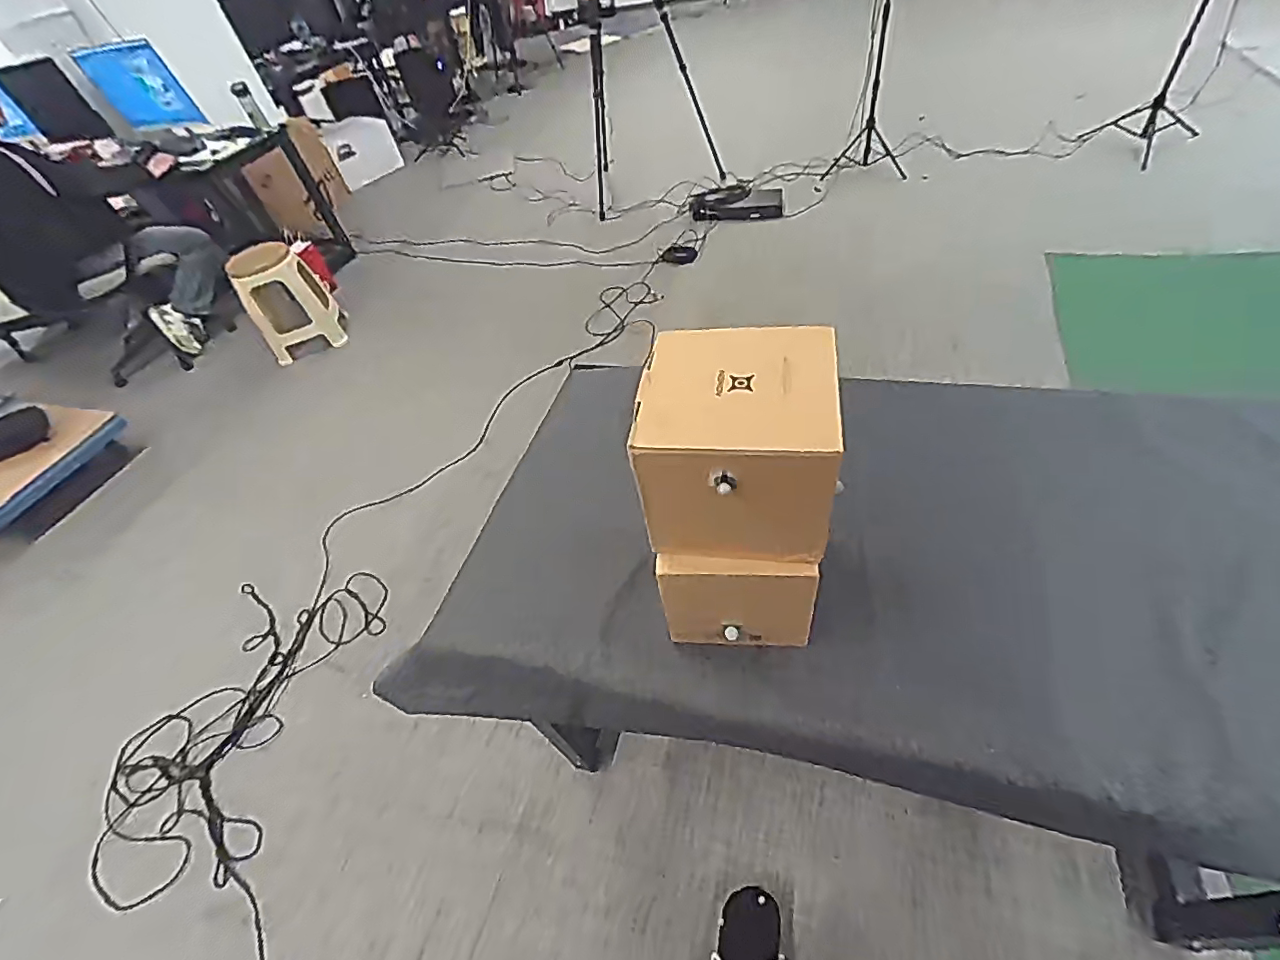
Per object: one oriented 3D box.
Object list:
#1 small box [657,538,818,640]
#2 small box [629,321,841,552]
[{"bbox_3d":[0.118,0.075,0.662,0.168,0.176,0.179,-1,50,11],"label":"small box"},{"bbox_3d":[0.100,-0.041,0.548,0.179,0.176,0.168,3,52,13],"label":"small box"}]
